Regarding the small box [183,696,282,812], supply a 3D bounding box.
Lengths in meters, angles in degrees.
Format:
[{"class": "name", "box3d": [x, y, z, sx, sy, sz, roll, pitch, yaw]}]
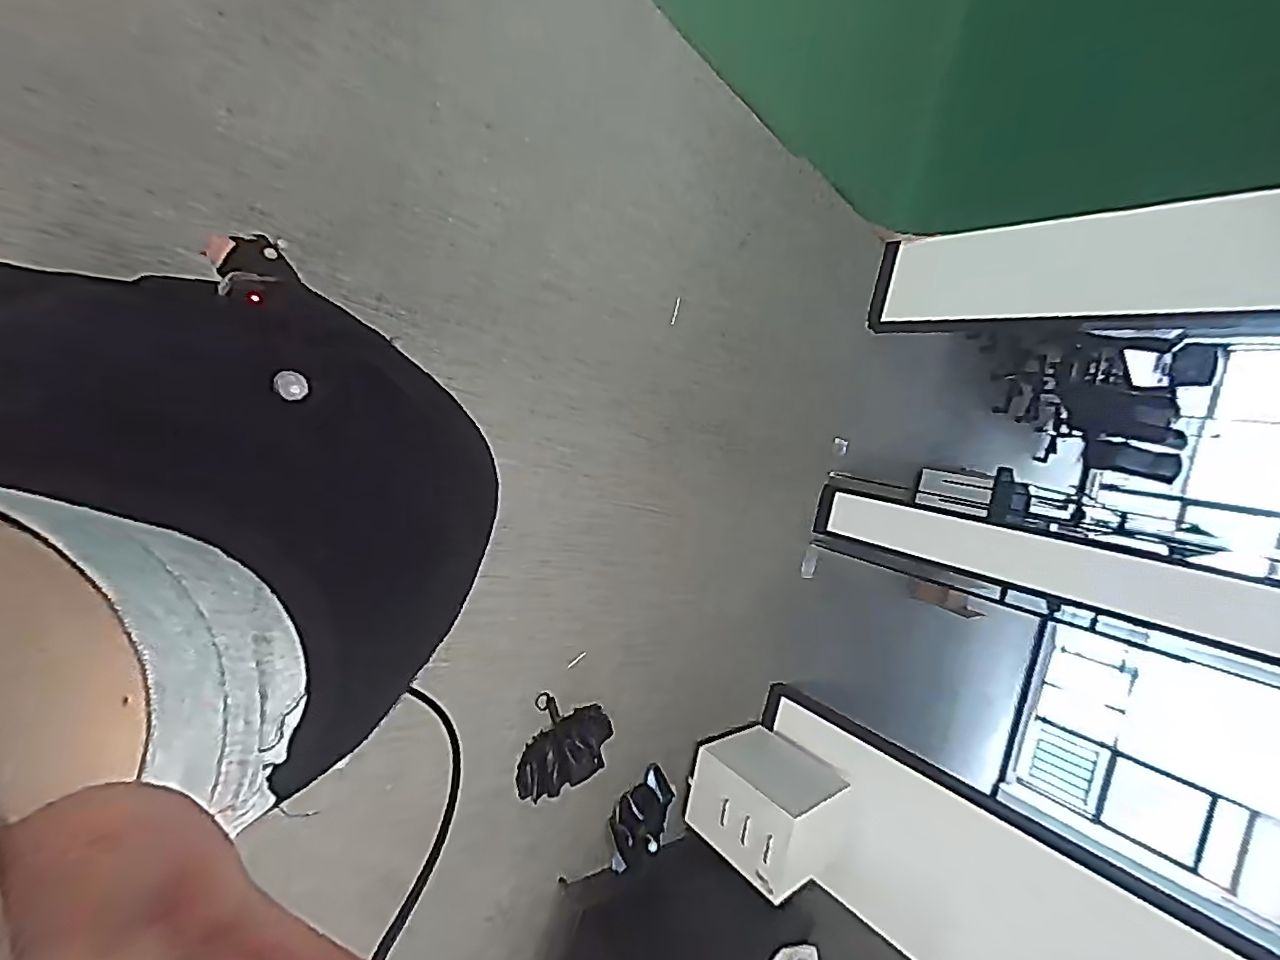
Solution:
[{"class": "small box", "box3d": [-1.000, 0.660, 1.324, 0.168, 0.176, 0.179, 8, 95, -44]}]
